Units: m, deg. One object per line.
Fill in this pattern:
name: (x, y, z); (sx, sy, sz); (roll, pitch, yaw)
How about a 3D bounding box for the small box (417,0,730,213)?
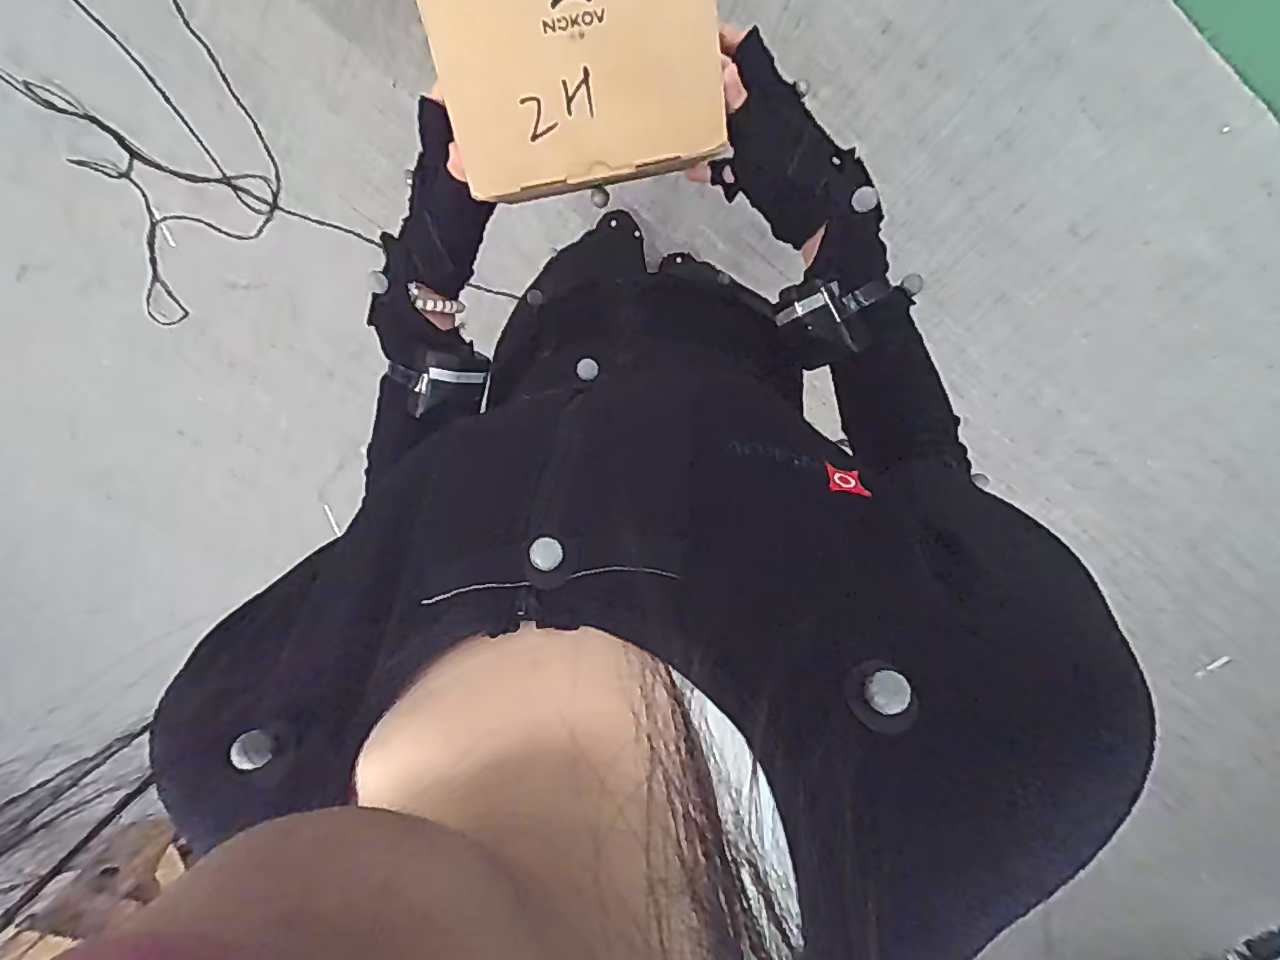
small box: (-0.044, -0.290, 0.368); (0.168, 0.176, 0.179); (-11, 117, 1)
